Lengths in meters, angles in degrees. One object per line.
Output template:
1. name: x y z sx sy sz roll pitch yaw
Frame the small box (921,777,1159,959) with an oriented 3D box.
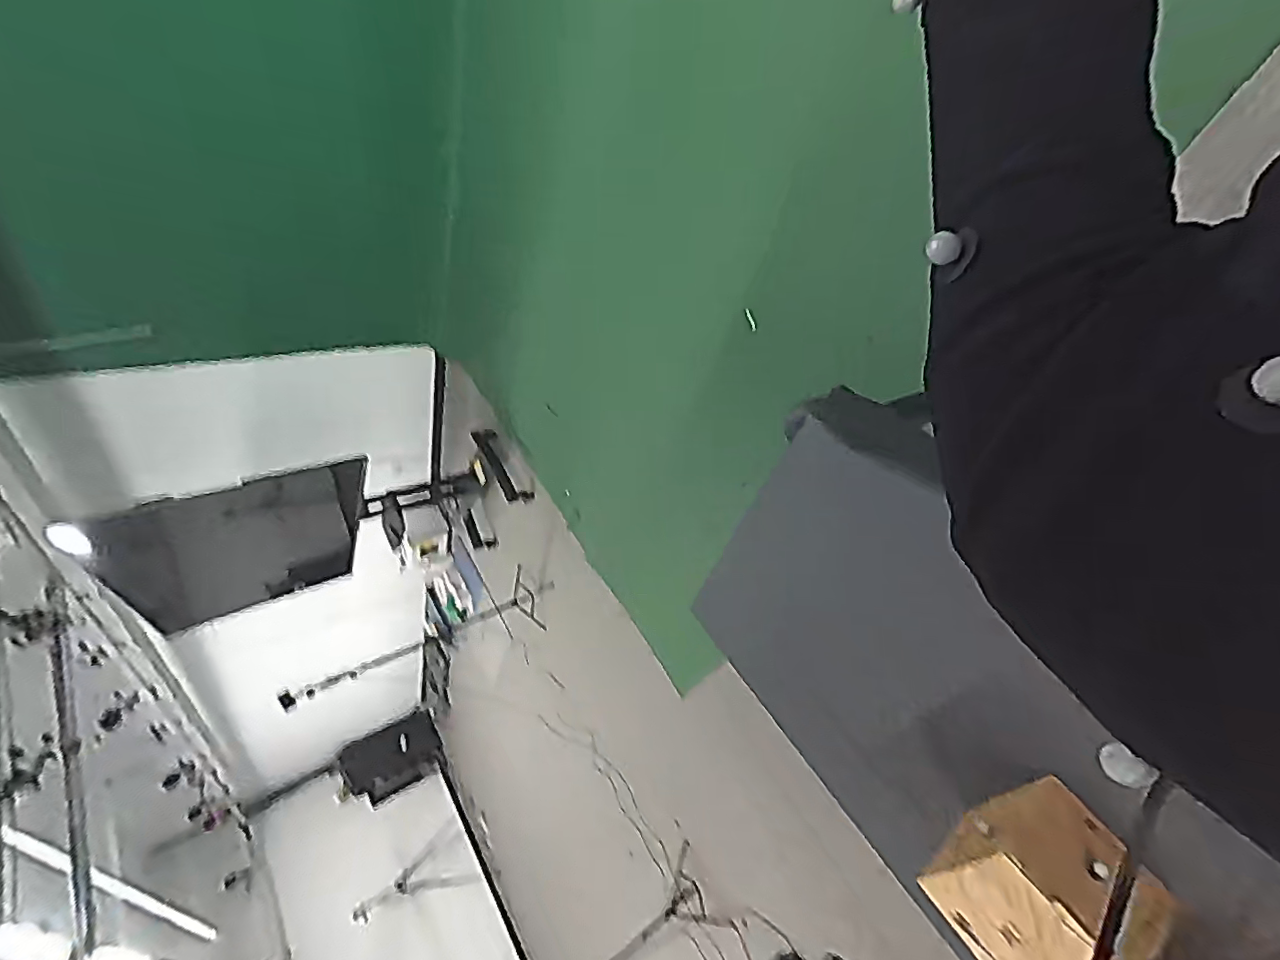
1. small box: 0.522 0.530 0.709 0.168 0.176 0.179 50 138 28
